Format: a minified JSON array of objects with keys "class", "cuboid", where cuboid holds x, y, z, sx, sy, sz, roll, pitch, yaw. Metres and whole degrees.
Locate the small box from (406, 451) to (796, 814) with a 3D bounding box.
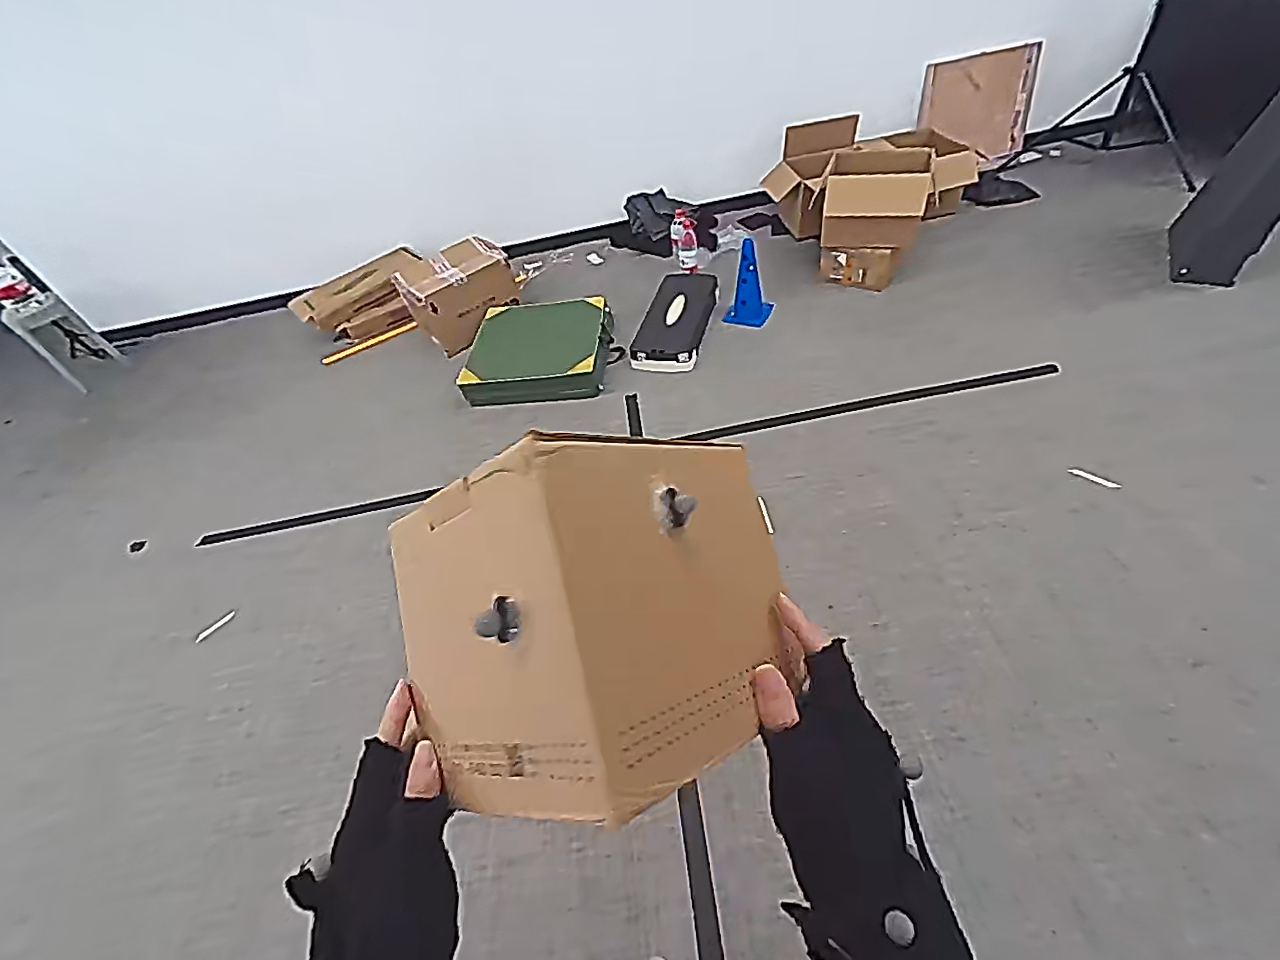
[{"class":"small box","cuboid":[-0.025,0.090,0.351,0.179,0.168,0.176,-1,72,-44]}]
